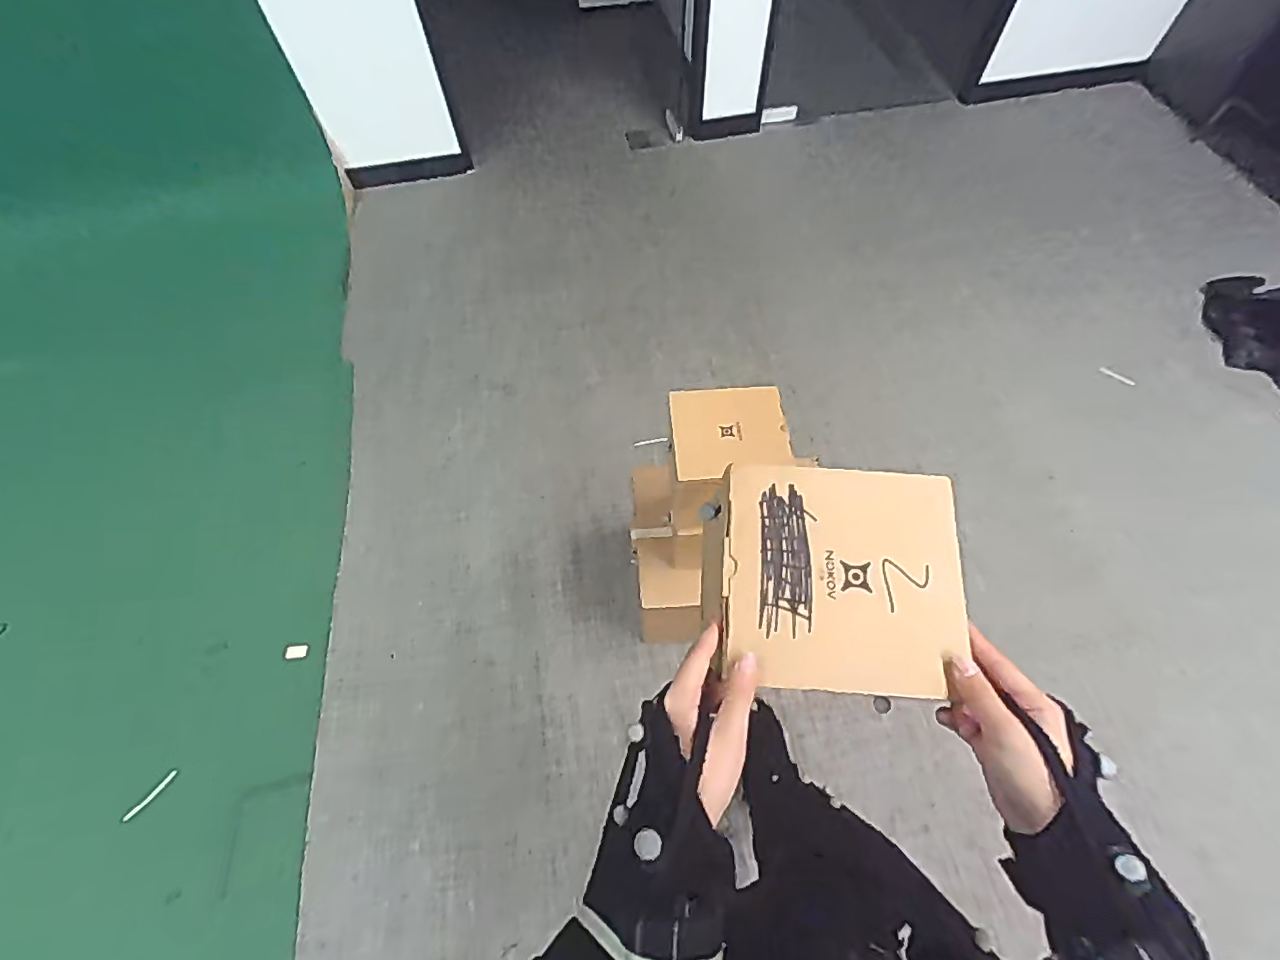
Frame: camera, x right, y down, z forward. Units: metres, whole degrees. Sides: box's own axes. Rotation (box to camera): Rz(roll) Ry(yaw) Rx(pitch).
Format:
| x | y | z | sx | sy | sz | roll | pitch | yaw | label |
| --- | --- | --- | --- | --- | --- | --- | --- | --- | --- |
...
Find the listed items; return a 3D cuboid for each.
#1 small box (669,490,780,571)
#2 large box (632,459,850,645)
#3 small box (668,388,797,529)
| x | y | z | sx | sy | sz | roll | pitch | yaw | label |
| --- | --- | --- | --- | --- | --- | --- | --- | --- | --- |
| 0.148 | 0.064 | 1.013 | 0.179 | 0.176 | 0.168 | -4 | 59 | 0 | small box |
| 0.194 | 0.174 | 1.229 | 0.408 | 0.320 | 0.320 | -4 | 62 | -2 | large box |
| 0.137 | -0.029 | 0.879 | 0.179 | 0.176 | 0.168 | -3 | 60 | -1 | small box |
